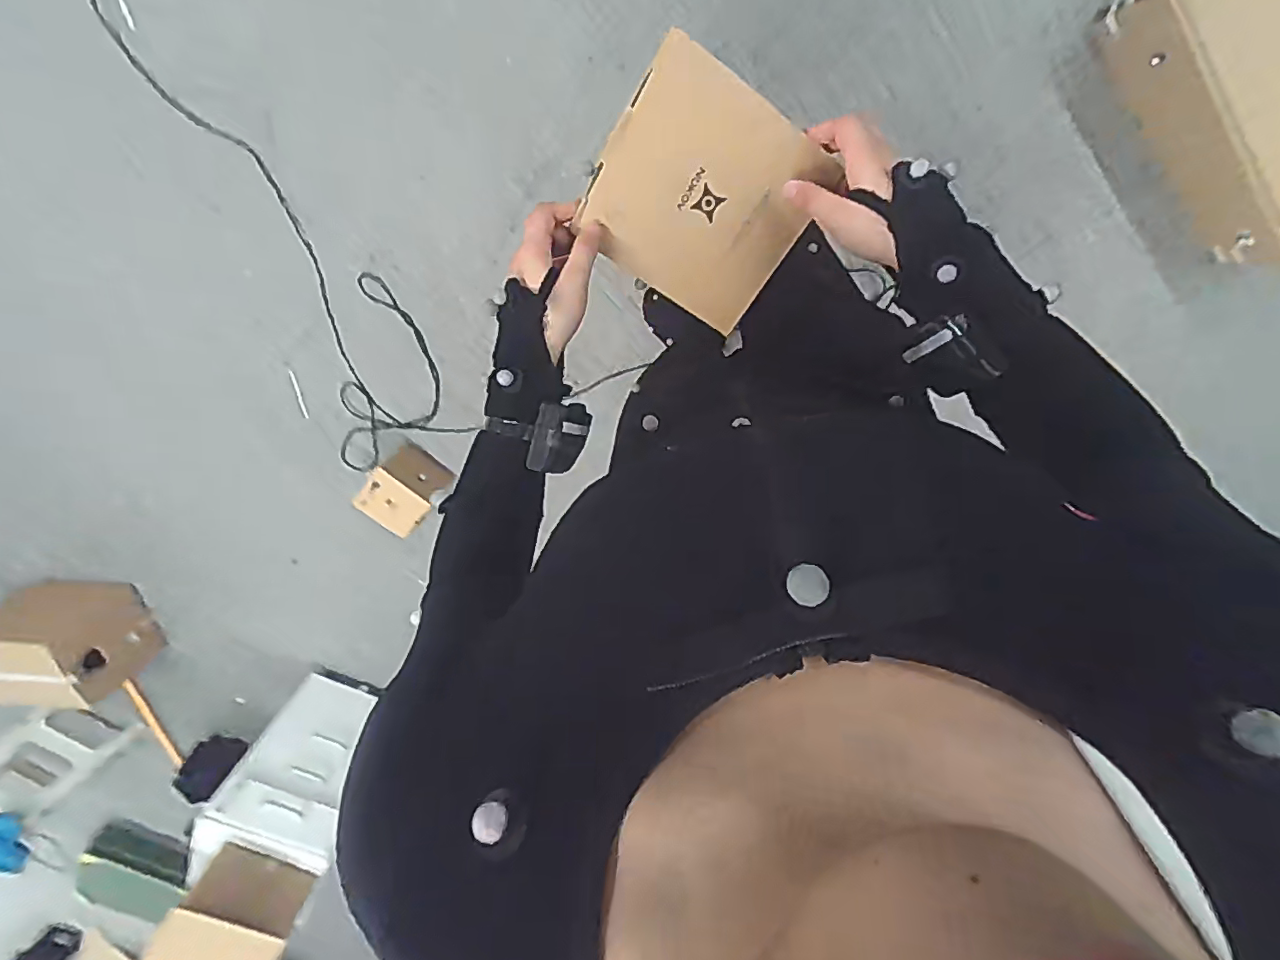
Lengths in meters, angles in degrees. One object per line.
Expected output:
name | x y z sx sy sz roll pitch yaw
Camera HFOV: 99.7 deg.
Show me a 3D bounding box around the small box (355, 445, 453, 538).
small box | -0.684 0.028 1.586 0.179 0.176 0.168 39 115 -16
